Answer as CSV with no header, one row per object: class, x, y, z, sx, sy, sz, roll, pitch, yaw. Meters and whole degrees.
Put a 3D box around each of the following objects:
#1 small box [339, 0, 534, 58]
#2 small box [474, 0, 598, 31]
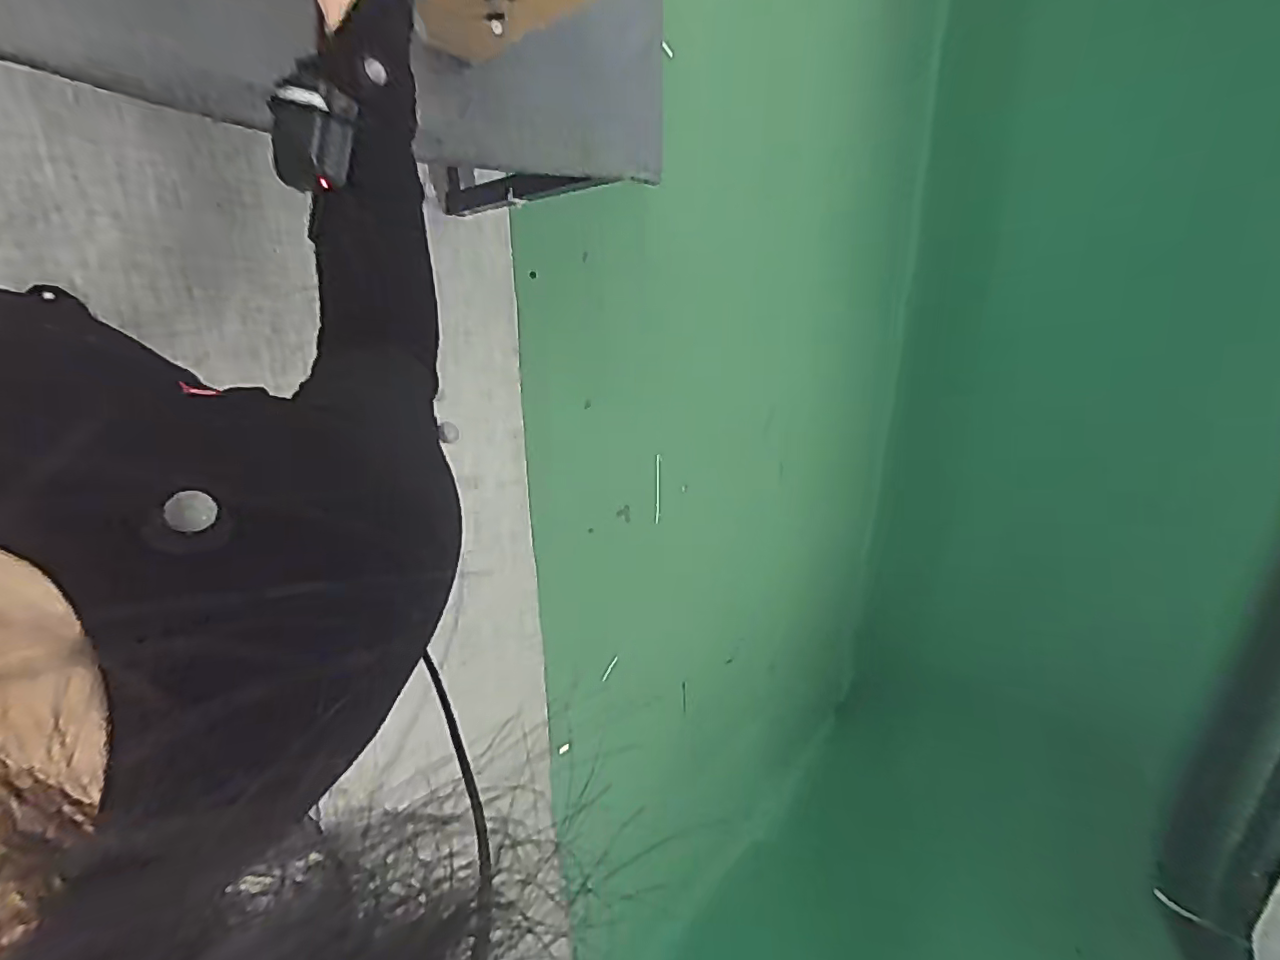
small box,-0.226,-0.615,0.607,0.179,0.176,0.168,-12,110,-45
small box,-0.112,-0.575,0.500,0.168,0.176,0.179,-9,109,-44
